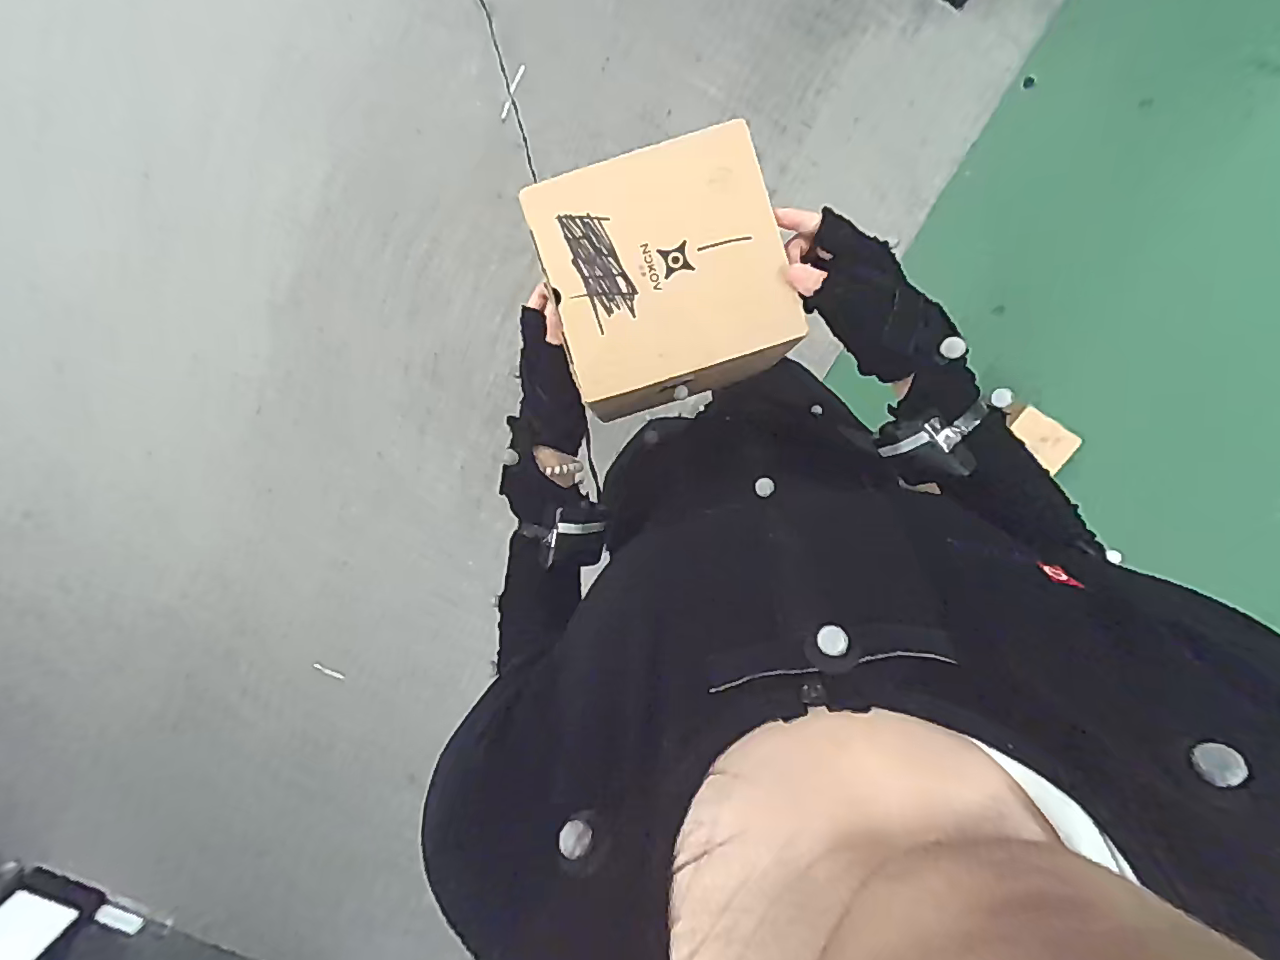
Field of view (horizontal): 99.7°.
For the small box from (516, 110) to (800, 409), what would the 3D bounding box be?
[{"bbox_3d":[0.014,-0.169,0.474,0.179,0.176,0.168,-17,91,1],"label":"small box"}]
